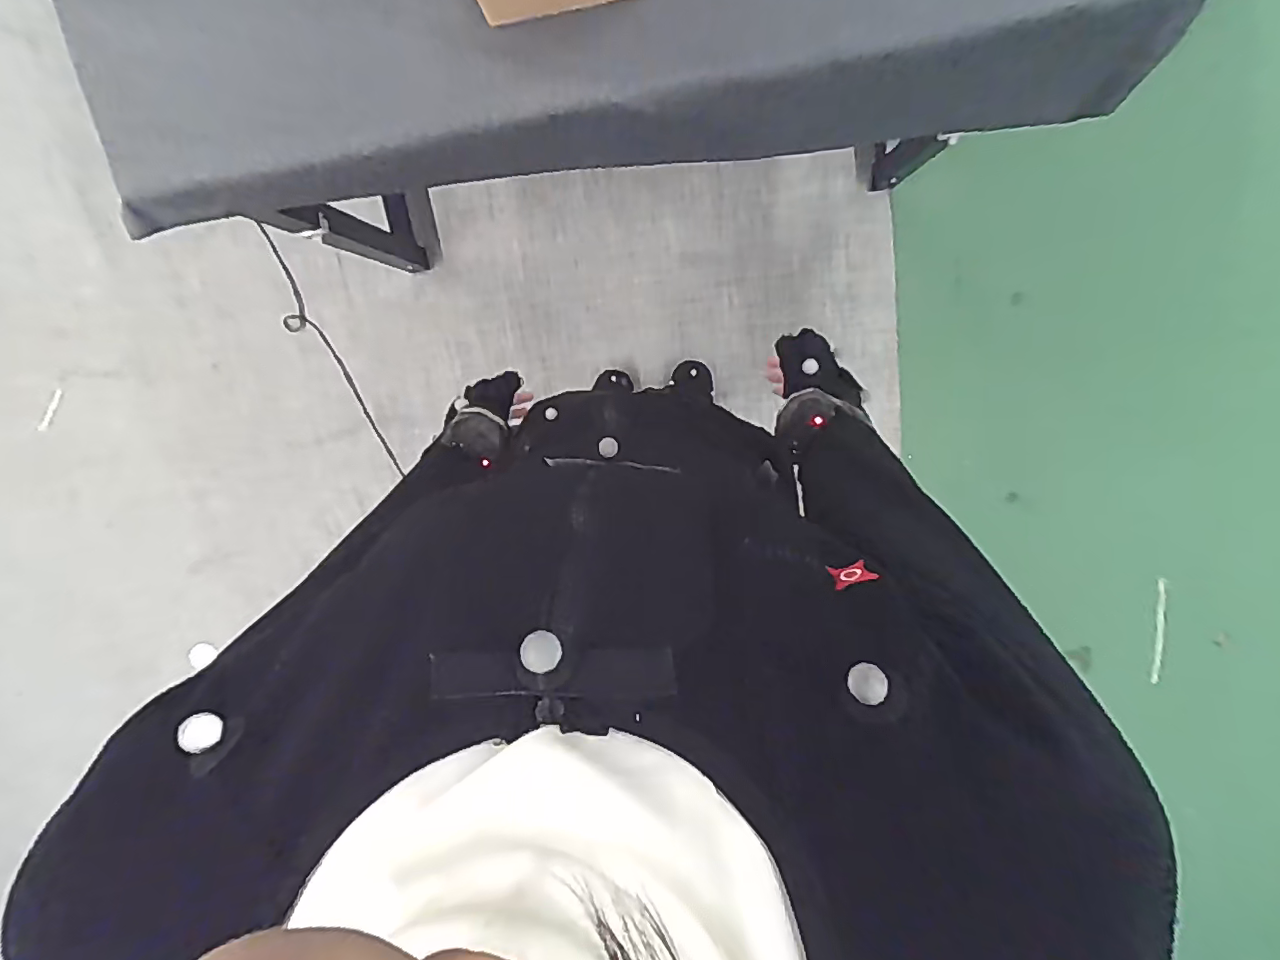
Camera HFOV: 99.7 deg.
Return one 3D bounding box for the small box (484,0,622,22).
[{"bbox_3d":[-0.092,-0.569,0.494,0.179,0.176,0.168,-9,102,3],"label":"small box"}]
